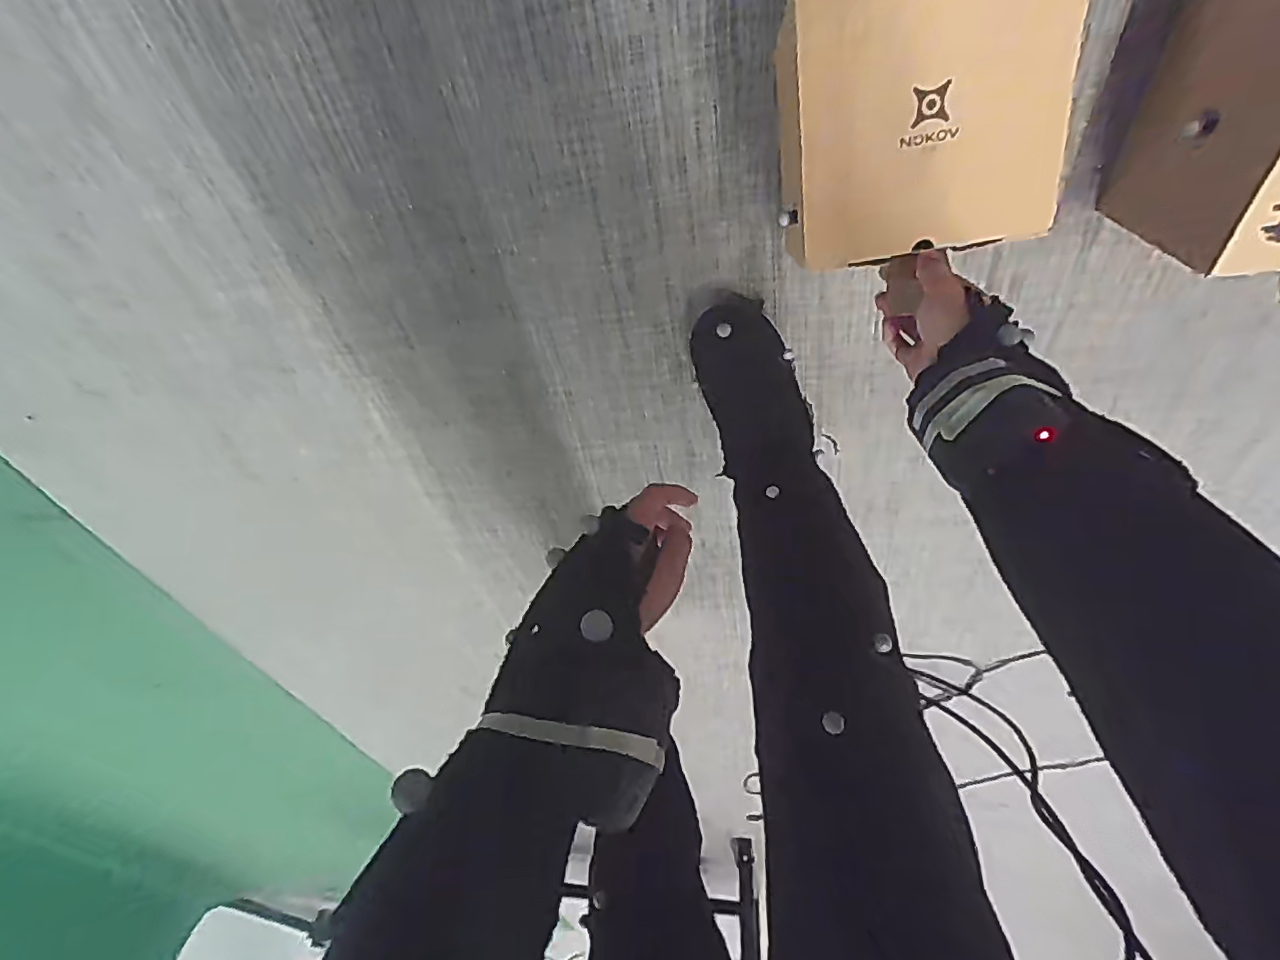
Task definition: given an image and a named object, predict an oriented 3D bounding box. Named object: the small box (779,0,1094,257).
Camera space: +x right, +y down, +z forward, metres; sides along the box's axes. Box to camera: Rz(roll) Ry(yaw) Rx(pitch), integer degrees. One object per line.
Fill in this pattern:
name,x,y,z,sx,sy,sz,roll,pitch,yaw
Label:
small box,0.199,-0.282,0.414,0.168,0.176,0.179,-5,117,12
